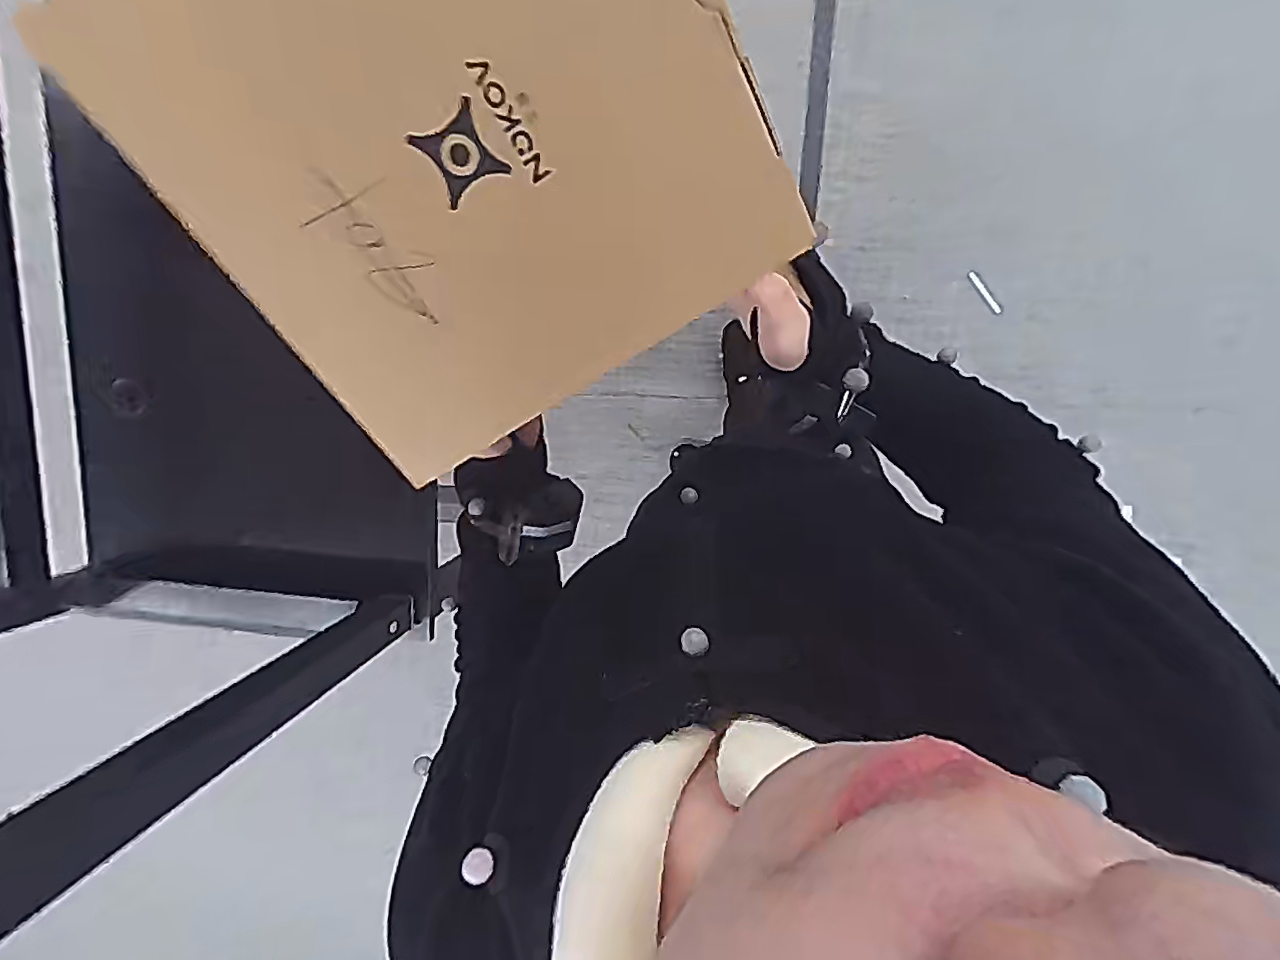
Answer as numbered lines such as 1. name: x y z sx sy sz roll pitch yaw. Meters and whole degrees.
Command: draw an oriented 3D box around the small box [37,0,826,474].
1. small box: -0.056 -0.137 0.236 0.179 0.176 0.168 -29 112 7
